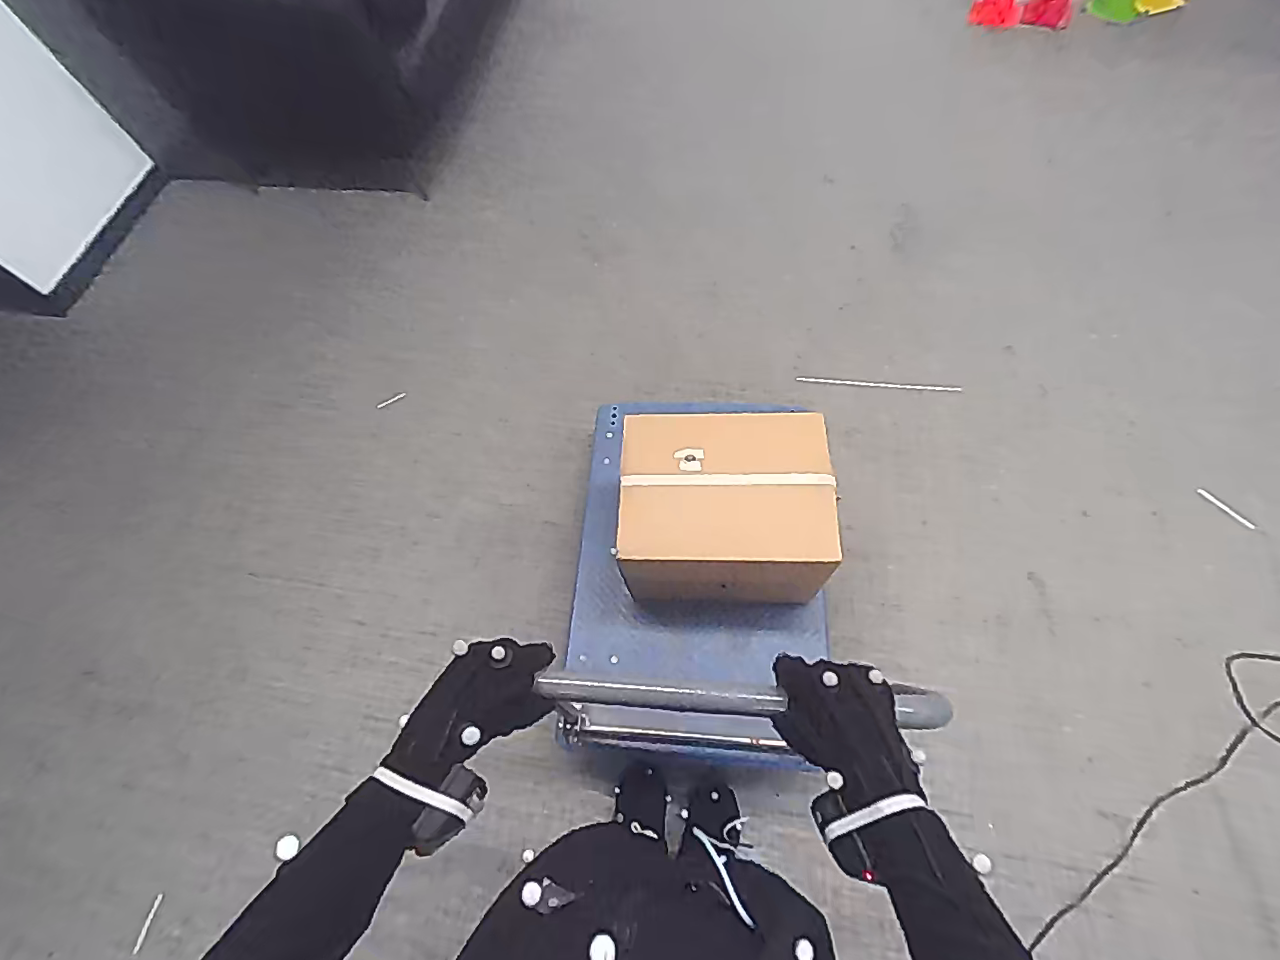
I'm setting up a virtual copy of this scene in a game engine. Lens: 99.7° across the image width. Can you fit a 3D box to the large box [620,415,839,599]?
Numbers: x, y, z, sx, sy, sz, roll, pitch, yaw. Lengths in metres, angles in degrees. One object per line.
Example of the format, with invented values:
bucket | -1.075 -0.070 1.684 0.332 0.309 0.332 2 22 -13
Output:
large box | 0.180 0.076 1.184 0.408 0.320 0.320 -2 63 6
